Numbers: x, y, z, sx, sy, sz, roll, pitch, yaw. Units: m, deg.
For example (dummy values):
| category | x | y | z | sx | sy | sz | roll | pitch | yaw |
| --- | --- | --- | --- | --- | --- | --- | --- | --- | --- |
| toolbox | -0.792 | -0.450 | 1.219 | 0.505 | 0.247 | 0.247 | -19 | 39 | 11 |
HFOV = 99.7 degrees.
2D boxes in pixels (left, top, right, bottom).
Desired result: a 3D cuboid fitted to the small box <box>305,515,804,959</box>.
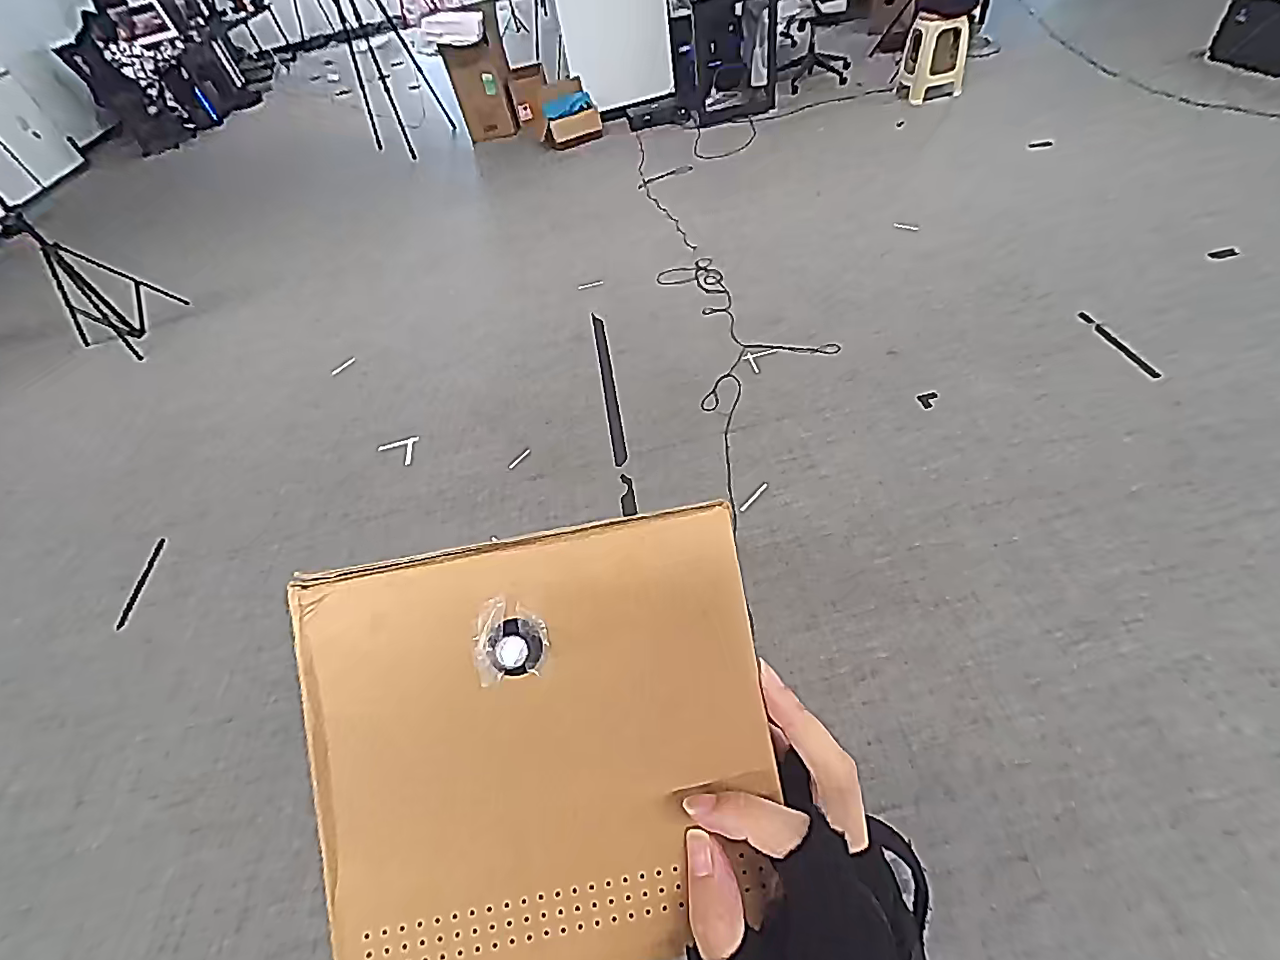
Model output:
| category | x | y | z | sx | sy | sz | roll | pitch | yaw |
| --- | --- | --- | --- | --- | --- | --- | --- | --- | --- |
| small box | -0.035 | 0.117 | 0.286 | 0.179 | 0.168 | 0.176 | -10 | 86 | -2 |
